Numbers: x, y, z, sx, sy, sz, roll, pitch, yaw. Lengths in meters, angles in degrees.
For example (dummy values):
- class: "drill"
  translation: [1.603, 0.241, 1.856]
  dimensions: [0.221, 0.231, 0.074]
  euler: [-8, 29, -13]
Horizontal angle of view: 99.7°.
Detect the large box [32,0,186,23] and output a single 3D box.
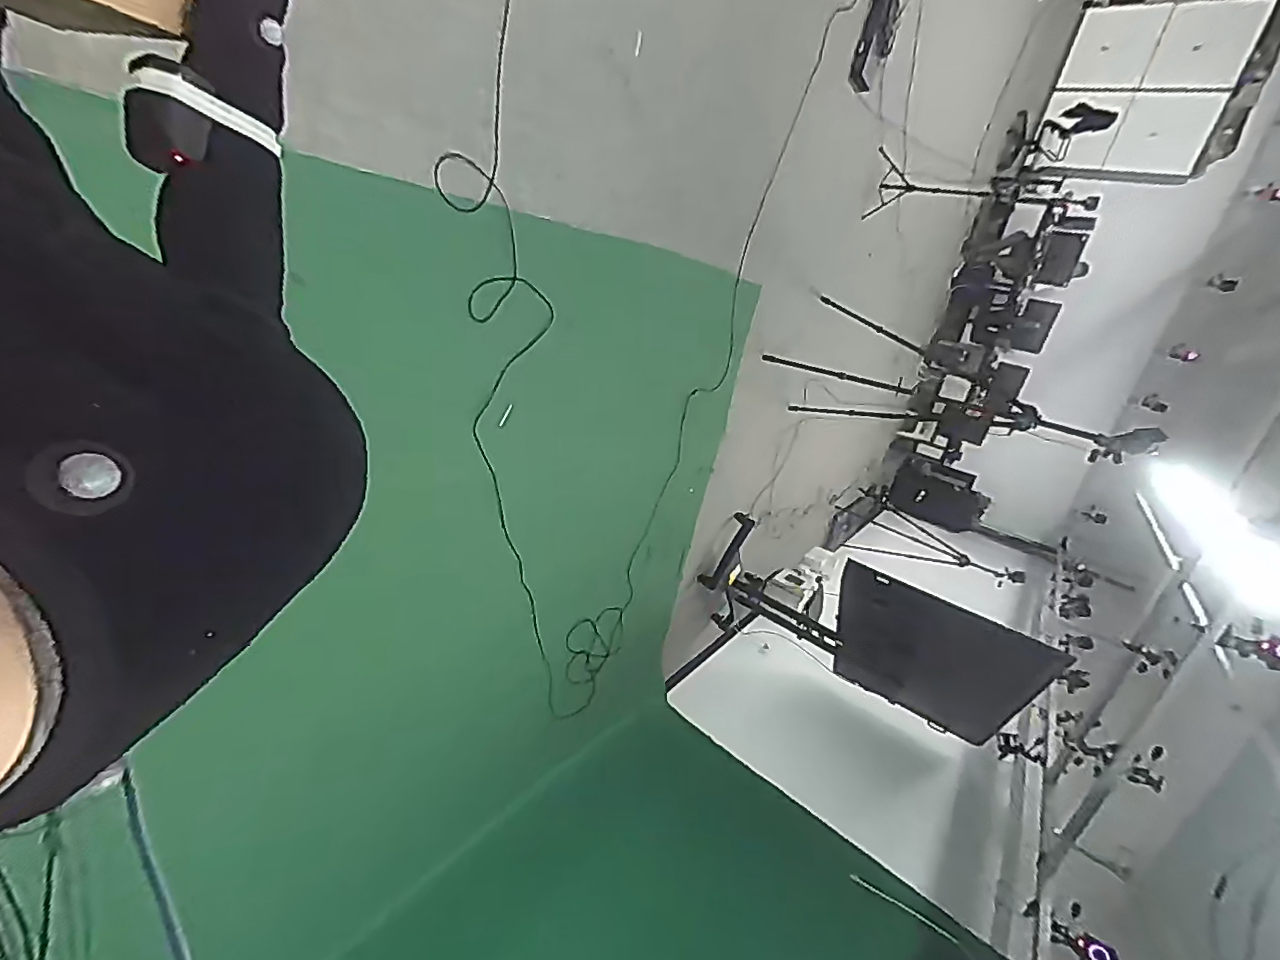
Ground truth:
- class: "large box"
  translation: [-0.523, -0.501, 0.255]
  dimensions: [0.408, 0.320, 0.320]
  euler: [-15, 127, -55]
